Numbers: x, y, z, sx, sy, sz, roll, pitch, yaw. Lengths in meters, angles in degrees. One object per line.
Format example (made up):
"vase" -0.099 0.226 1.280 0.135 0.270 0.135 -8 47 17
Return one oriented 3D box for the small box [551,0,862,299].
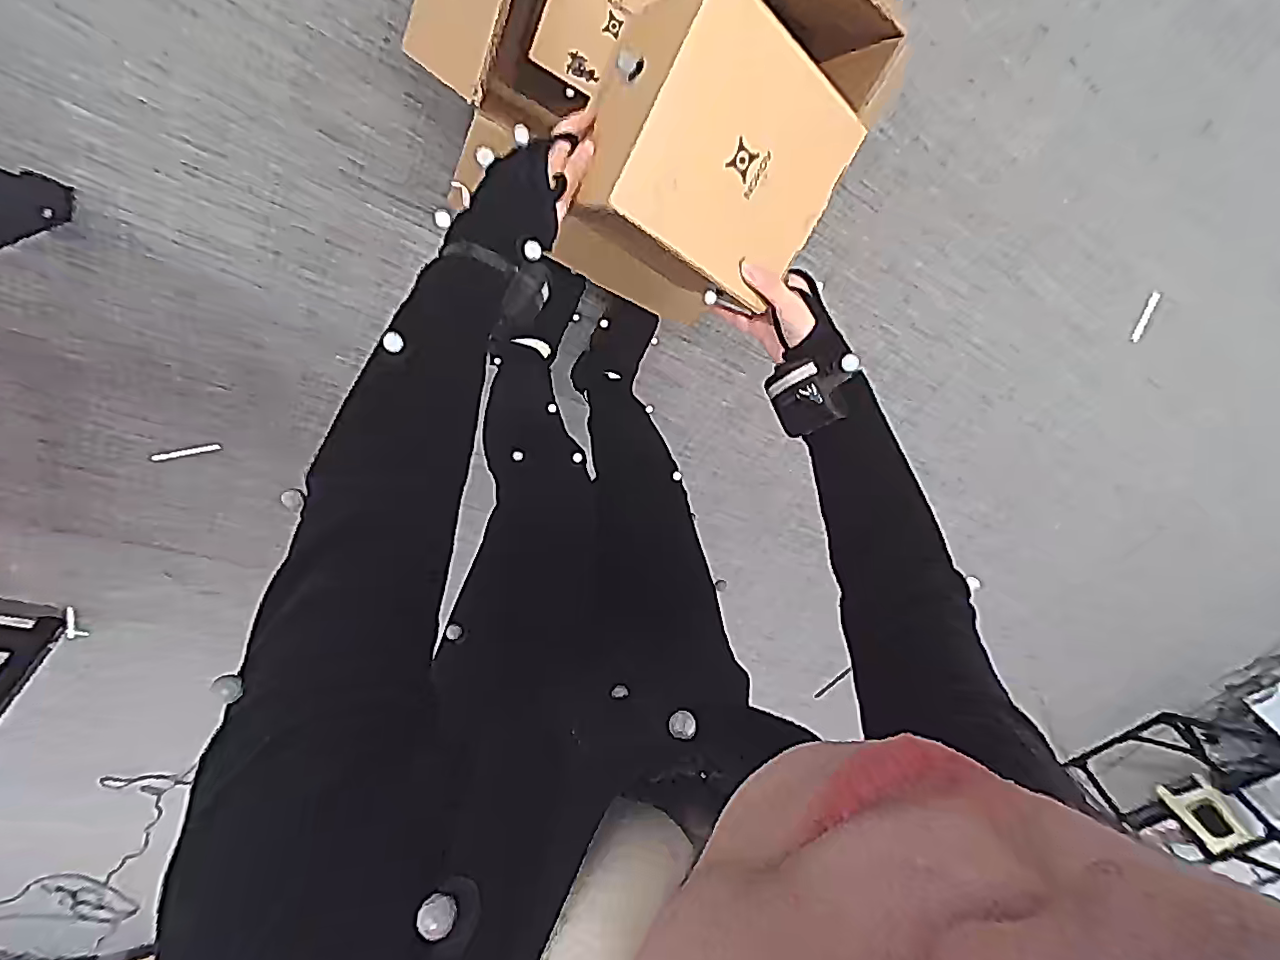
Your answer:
"small box" 0.045 -0.286 0.476 0.179 0.176 0.168 20 106 -35
